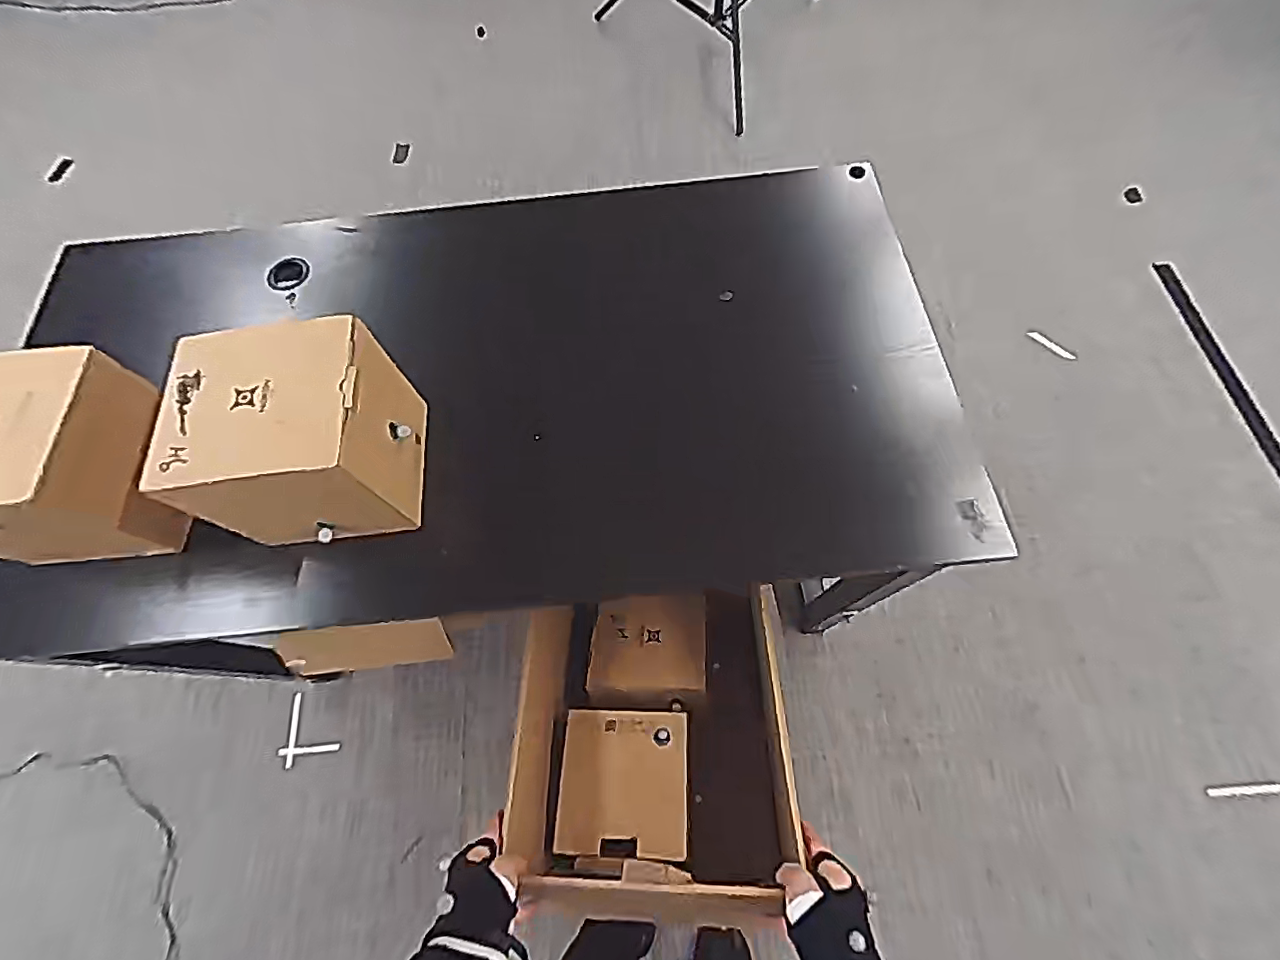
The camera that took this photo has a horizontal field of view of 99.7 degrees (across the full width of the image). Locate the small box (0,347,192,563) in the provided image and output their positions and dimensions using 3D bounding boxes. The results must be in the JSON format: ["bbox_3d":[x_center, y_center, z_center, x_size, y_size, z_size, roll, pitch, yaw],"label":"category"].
[{"bbox_3d":[-0.604,-0.016,0.560,0.179,0.176,0.168,-4,67,0],"label":"small box"}]

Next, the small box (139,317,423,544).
[{"bbox_3d":[-0.342,-0.041,0.559,0.179,0.176,0.168,-7,66,-1],"label":"small box"}]
